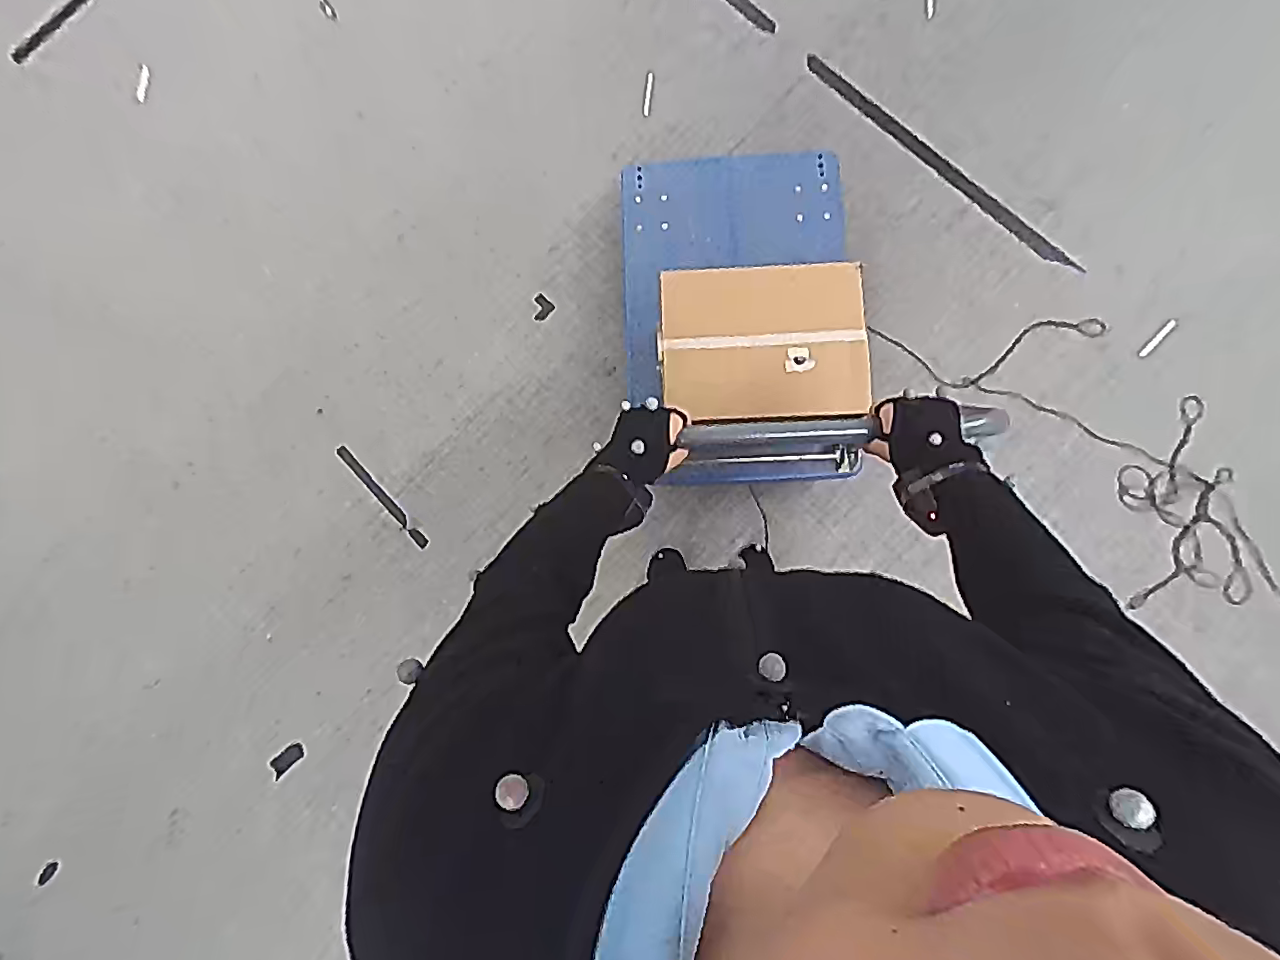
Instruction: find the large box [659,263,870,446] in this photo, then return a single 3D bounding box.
[{"bbox_3d":[0.252,-0.263,1.230,0.408,0.320,0.320,-2,85,2],"label":"large box"}]
